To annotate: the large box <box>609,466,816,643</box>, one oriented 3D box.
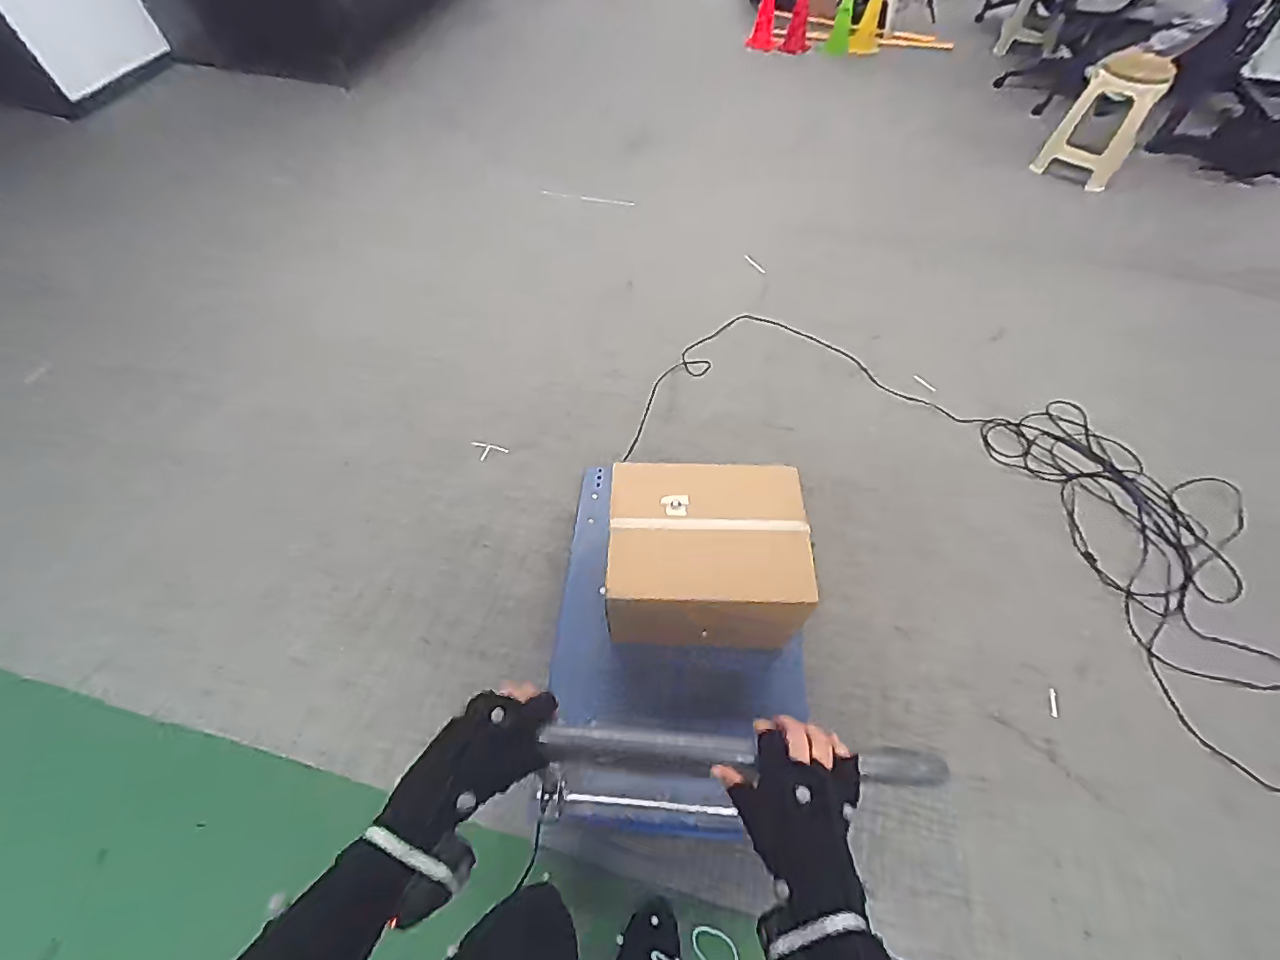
[{"bbox_3d":[0.143,0.179,1.234,0.408,0.320,0.320,1,56,1],"label":"large box"}]
